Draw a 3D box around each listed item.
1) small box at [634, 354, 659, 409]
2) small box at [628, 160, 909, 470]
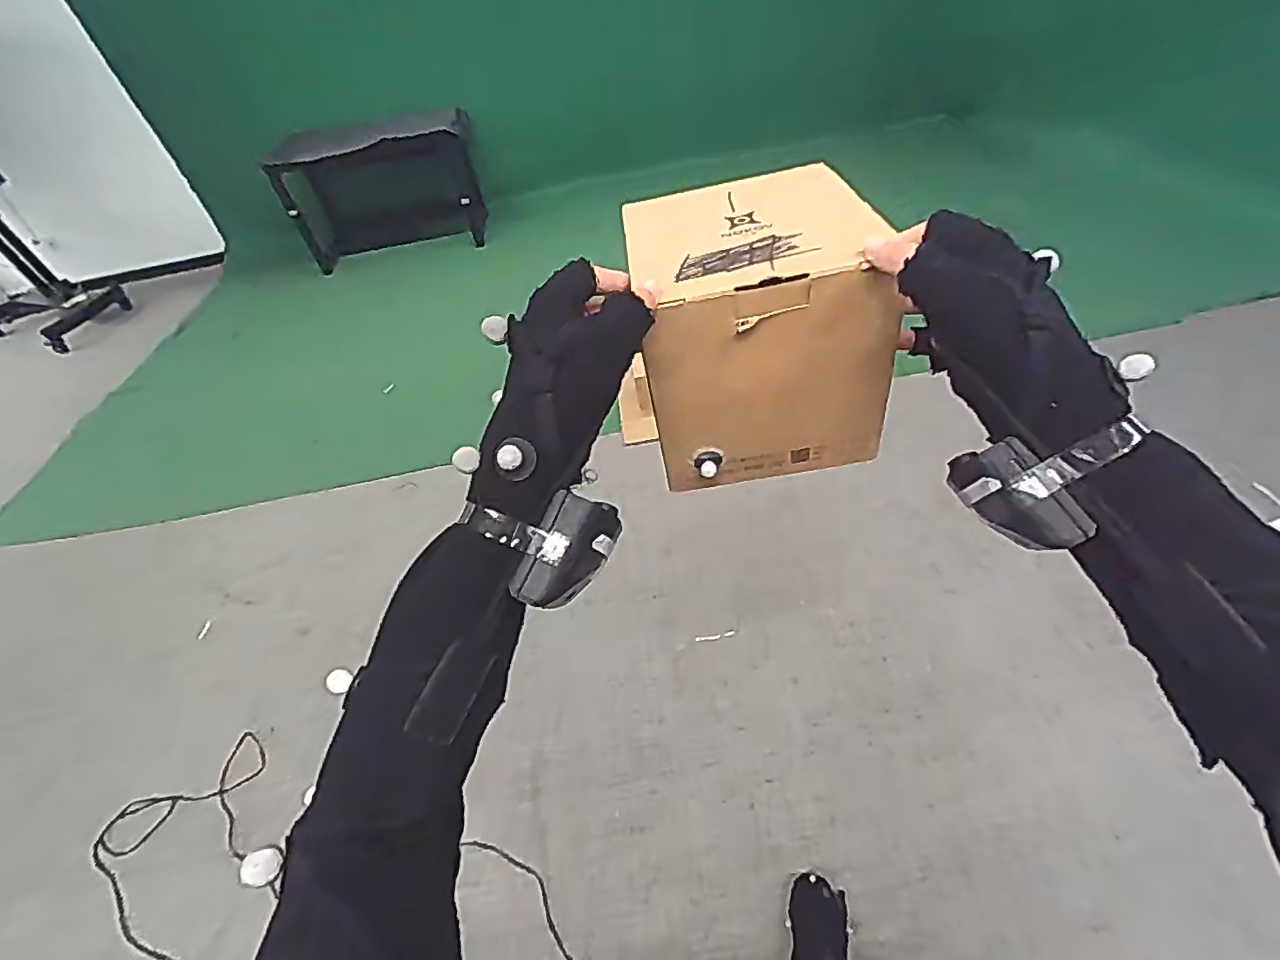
[{"bbox_3d":[0.075,-0.435,2.343,0.168,0.176,0.179,-12,45,2],"label":"small box"},{"bbox_3d":[0.089,-0.123,0.433,0.168,0.176,0.179,-10,45,5],"label":"small box"}]
